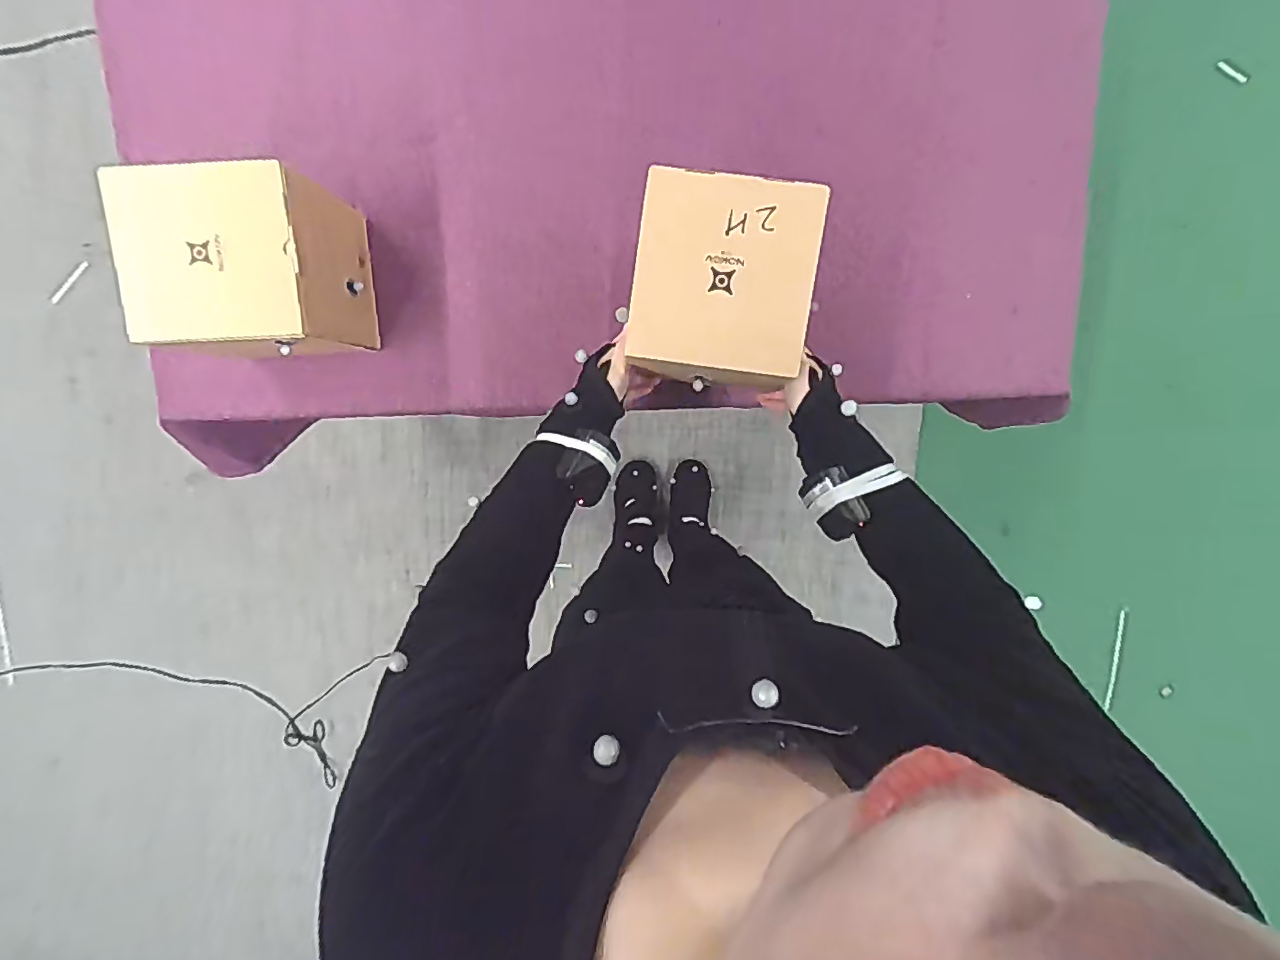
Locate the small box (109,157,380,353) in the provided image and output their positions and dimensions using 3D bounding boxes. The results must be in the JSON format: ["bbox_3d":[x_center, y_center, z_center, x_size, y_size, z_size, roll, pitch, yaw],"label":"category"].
[{"bbox_3d":[-0.426,-0.239,0.613,0.179,0.176,0.168,-4,98,-1],"label":"small box"}]

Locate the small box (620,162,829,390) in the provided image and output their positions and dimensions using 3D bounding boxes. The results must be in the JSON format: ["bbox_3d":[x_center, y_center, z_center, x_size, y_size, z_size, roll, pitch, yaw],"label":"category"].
[{"bbox_3d":[0.081,-0.196,0.571,0.168,0.176,0.179,9,95,3],"label":"small box"}]
